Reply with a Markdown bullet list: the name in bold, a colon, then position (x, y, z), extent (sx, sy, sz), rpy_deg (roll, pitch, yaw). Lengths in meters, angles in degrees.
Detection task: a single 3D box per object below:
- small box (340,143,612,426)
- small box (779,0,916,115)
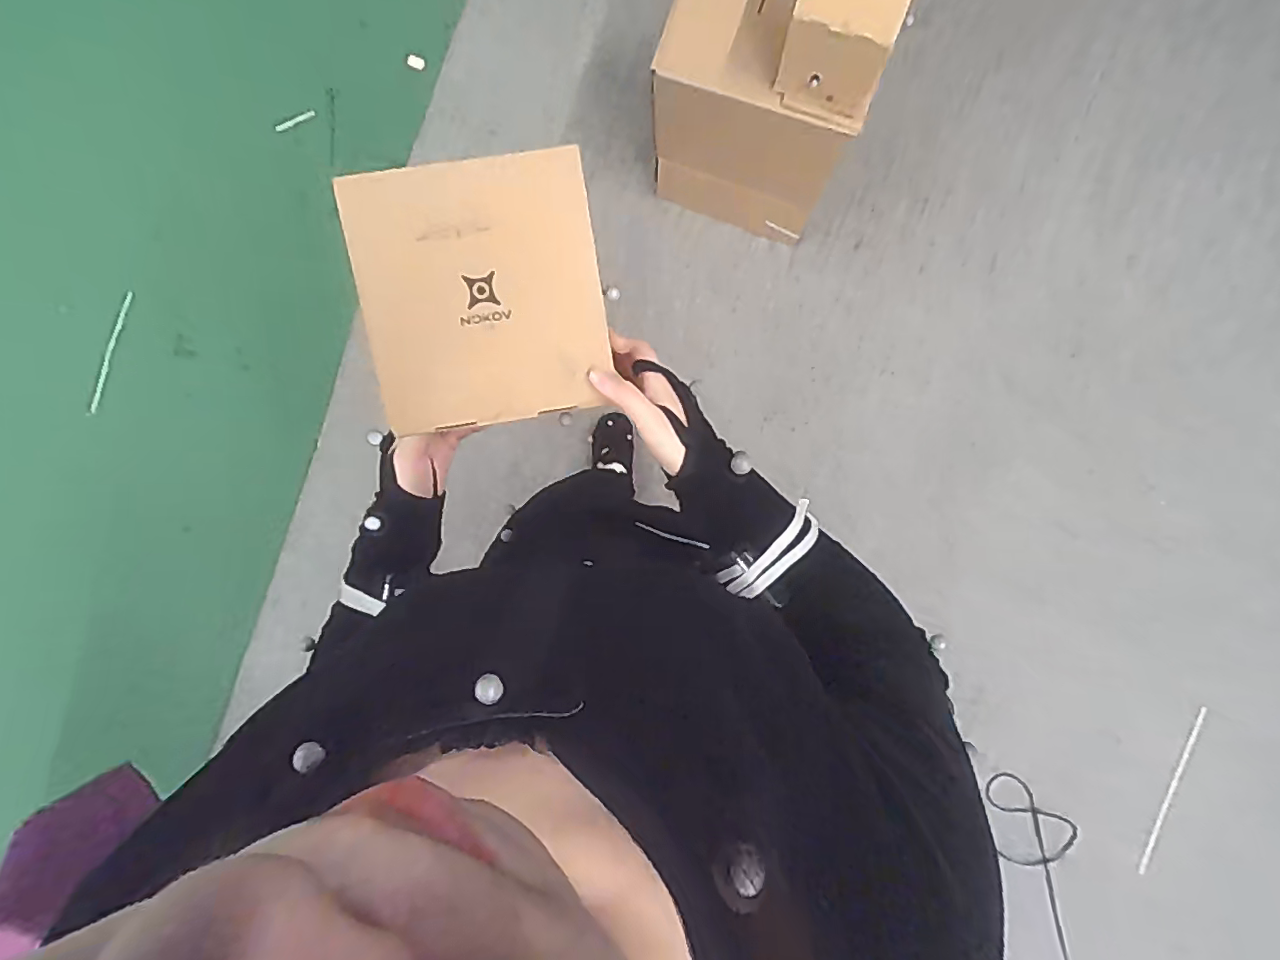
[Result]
- **small box**: position (-0.113, -0.148, 0.453), extent (0.168, 0.176, 0.179), rpy_deg (-8, 101, -3)
- **small box**: position (0.350, -0.768, 0.905), extent (0.168, 0.176, 0.179), rpy_deg (22, 93, 2)
